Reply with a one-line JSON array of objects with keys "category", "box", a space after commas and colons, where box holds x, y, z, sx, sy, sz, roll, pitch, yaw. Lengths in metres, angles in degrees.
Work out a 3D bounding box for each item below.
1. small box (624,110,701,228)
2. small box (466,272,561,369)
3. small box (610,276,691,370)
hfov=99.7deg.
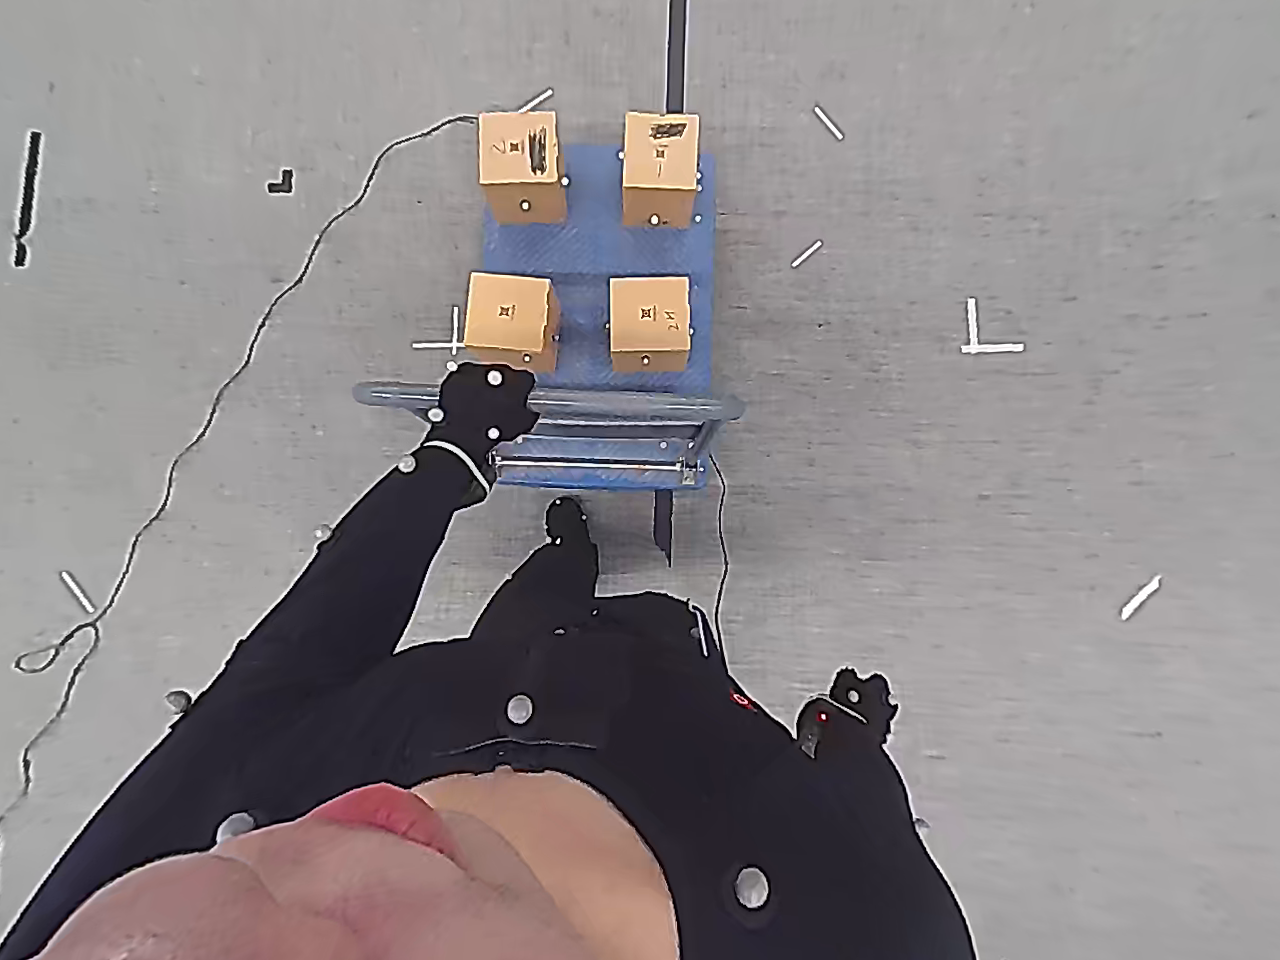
[{"category": "small box", "box": [0.049, -0.727, 1.277, 0.168, 0.176, 0.179, 3, 87, 0]}, {"category": "small box", "box": [-0.286, -0.362, 1.254, 0.179, 0.176, 0.168, 5, 86, -1]}, {"category": "small box", "box": [0.024, -0.357, 1.252, 0.179, 0.176, 0.168, -1, 86, 0]}]
